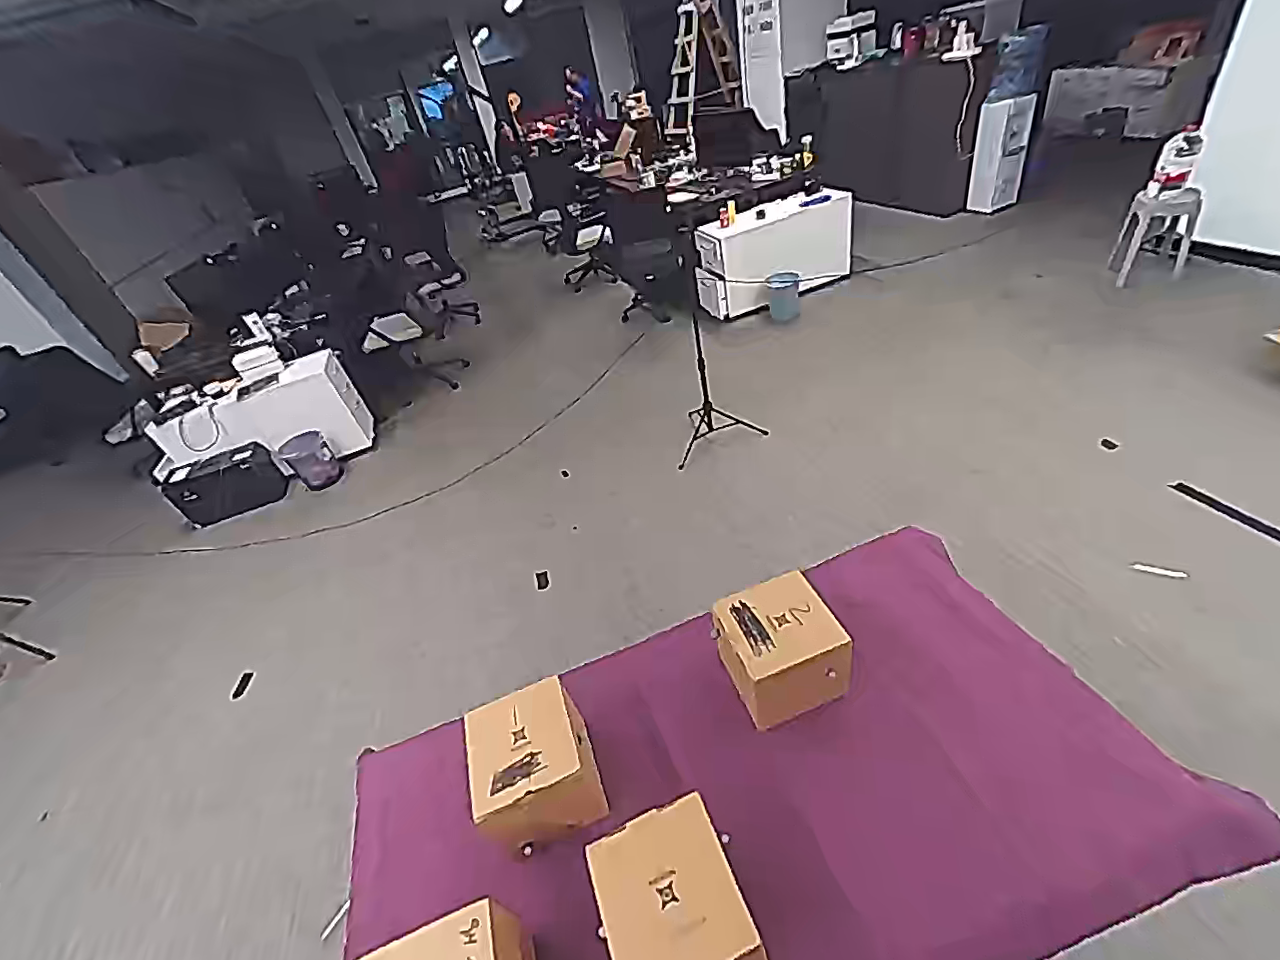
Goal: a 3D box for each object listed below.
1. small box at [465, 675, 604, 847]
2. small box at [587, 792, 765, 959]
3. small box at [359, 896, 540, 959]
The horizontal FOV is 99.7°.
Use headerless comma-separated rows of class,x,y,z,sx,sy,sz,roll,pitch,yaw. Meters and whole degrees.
small box,-0.171,0.466,0.888,0.168,0.176,0.179,-21,38,-8
small box,0.047,0.556,0.704,0.168,0.176,0.179,-22,40,-8
small box,-0.226,0.662,0.661,0.179,0.176,0.168,-22,39,-7
